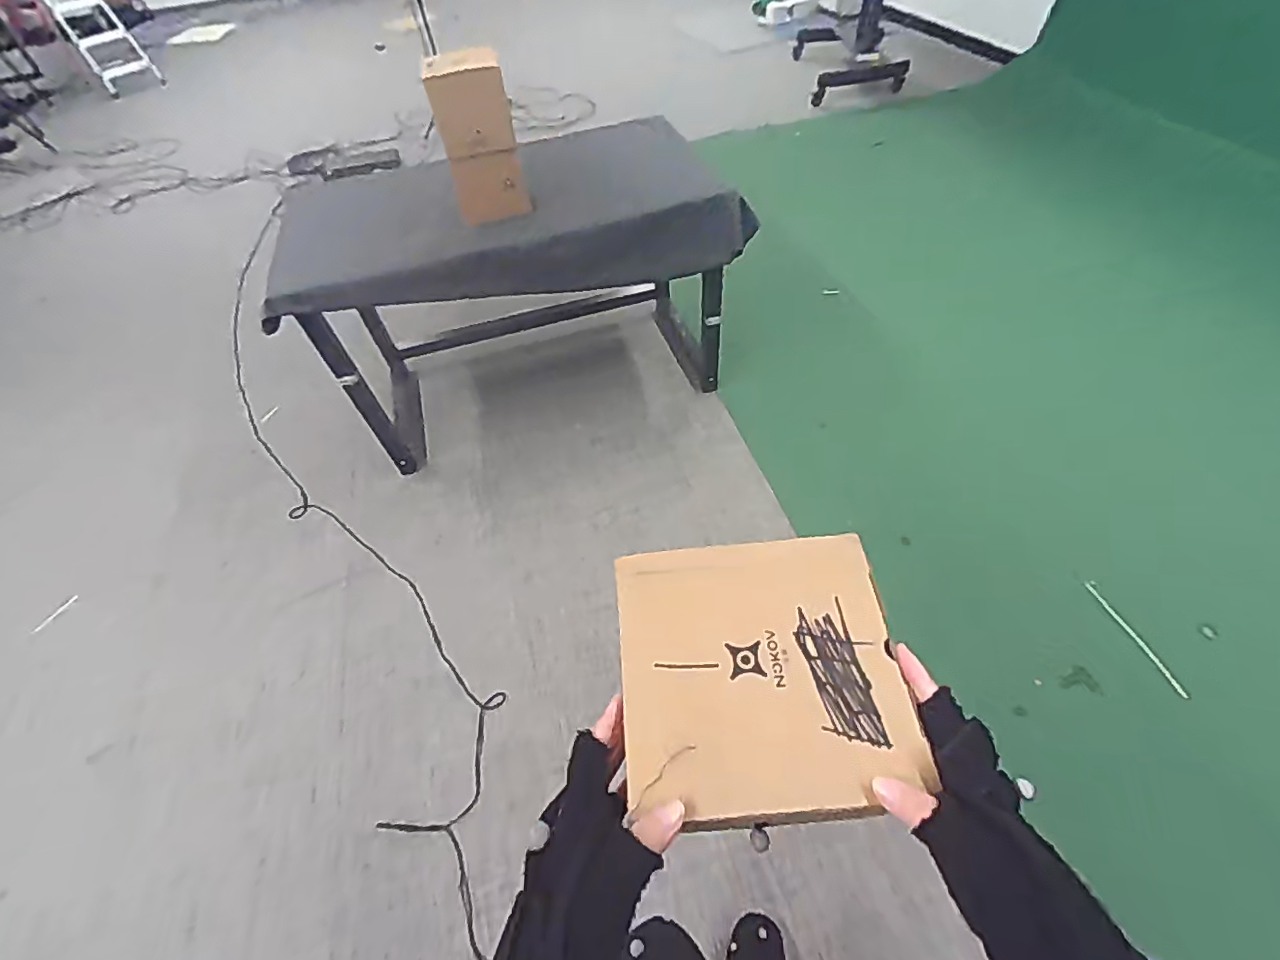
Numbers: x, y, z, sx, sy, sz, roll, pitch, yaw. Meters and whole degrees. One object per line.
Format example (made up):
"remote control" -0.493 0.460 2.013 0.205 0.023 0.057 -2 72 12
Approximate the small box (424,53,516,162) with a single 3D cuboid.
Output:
"small box" -0.406 -0.899 1.309 0.179 0.176 0.168 -15 51 -7

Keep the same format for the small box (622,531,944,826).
"small box" 0.082 0.157 0.415 0.179 0.176 0.168 -7 56 -3

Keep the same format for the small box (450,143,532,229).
"small box" -0.395 -0.799 1.439 0.179 0.176 0.168 -18 51 -7
